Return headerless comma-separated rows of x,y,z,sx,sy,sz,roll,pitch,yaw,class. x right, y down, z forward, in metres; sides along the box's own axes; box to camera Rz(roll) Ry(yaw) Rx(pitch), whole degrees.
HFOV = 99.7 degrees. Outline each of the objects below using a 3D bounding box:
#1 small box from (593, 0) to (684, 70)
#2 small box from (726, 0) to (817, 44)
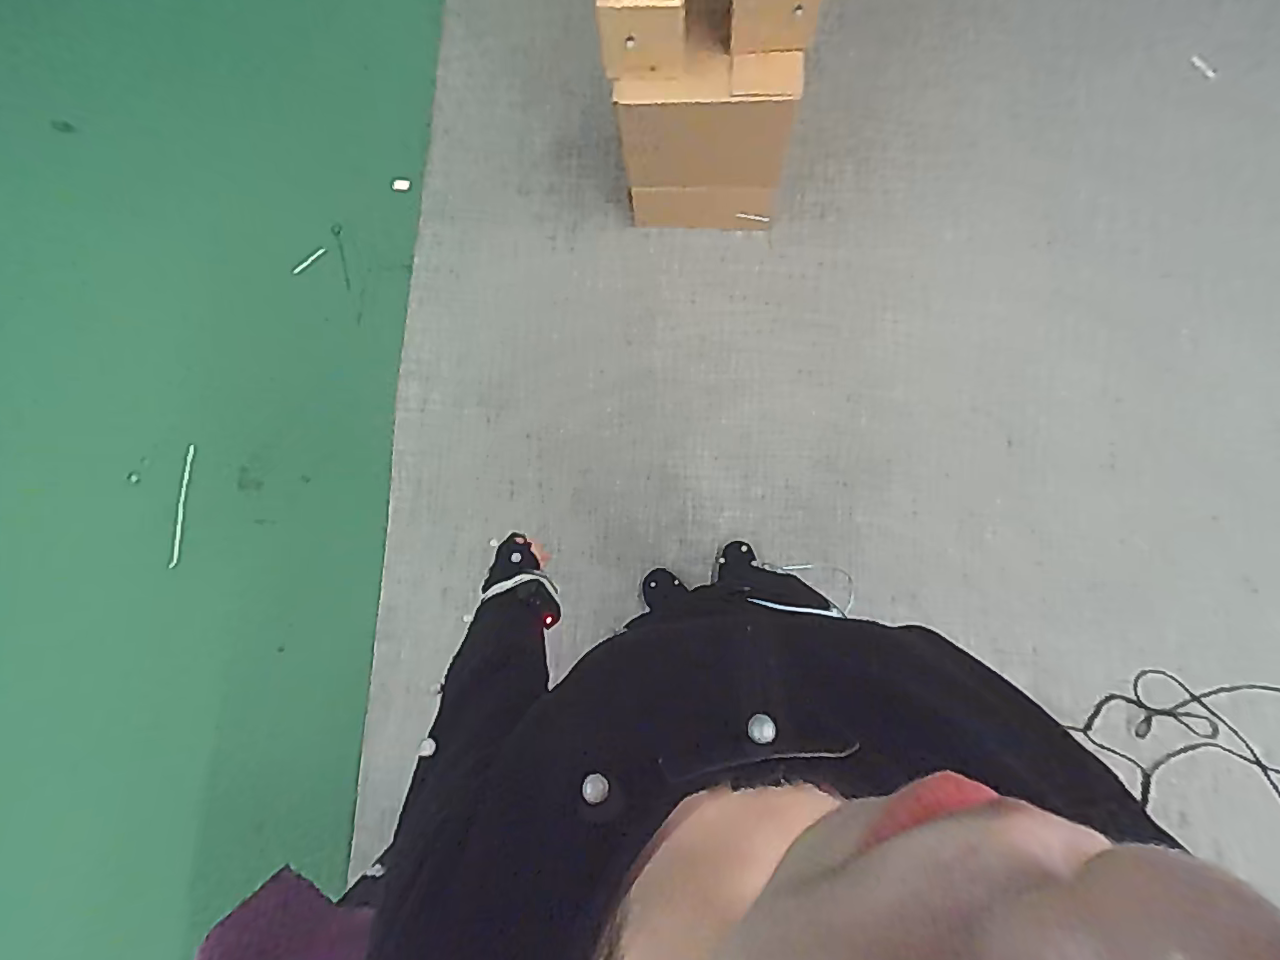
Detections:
0.003,-0.978,1.097,0.168,0.176,0.179,4,84,3,small box
0.269,-1.021,1.084,0.179,0.176,0.168,1,84,6,small box
